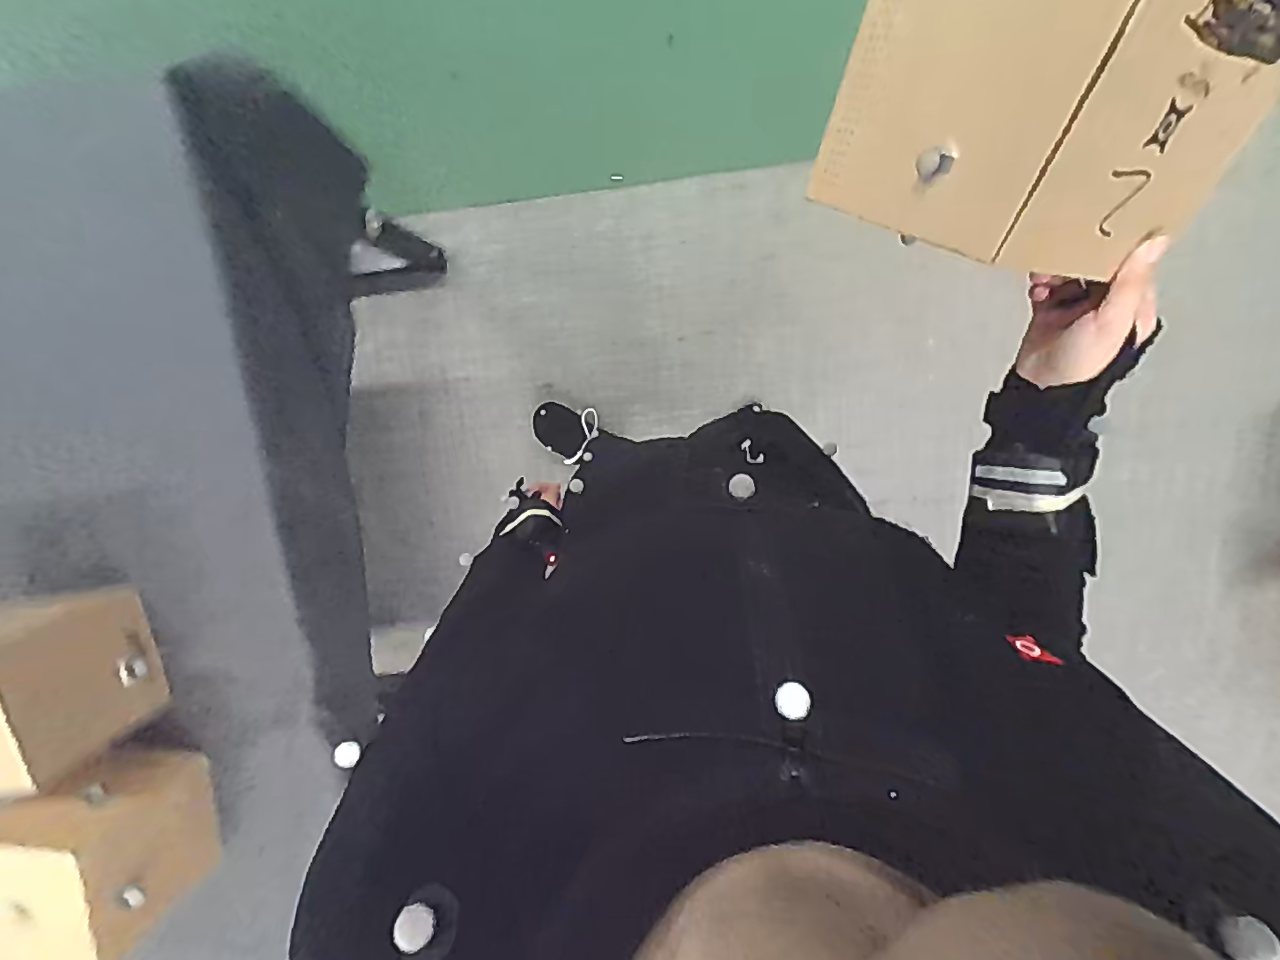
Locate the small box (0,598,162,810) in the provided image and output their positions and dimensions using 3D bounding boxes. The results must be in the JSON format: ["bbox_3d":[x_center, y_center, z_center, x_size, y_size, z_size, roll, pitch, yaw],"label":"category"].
[{"bbox_3d":[-0.721,0.252,0.620,0.179,0.176,0.168,-10,100,5],"label":"small box"}]

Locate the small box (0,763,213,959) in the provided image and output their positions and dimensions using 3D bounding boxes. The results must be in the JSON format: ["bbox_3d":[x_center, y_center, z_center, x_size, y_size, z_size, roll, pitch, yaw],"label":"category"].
[{"bbox_3d":[-0.668,0.473,0.655,0.168,0.176,0.179,1,101,3],"label":"small box"}]
